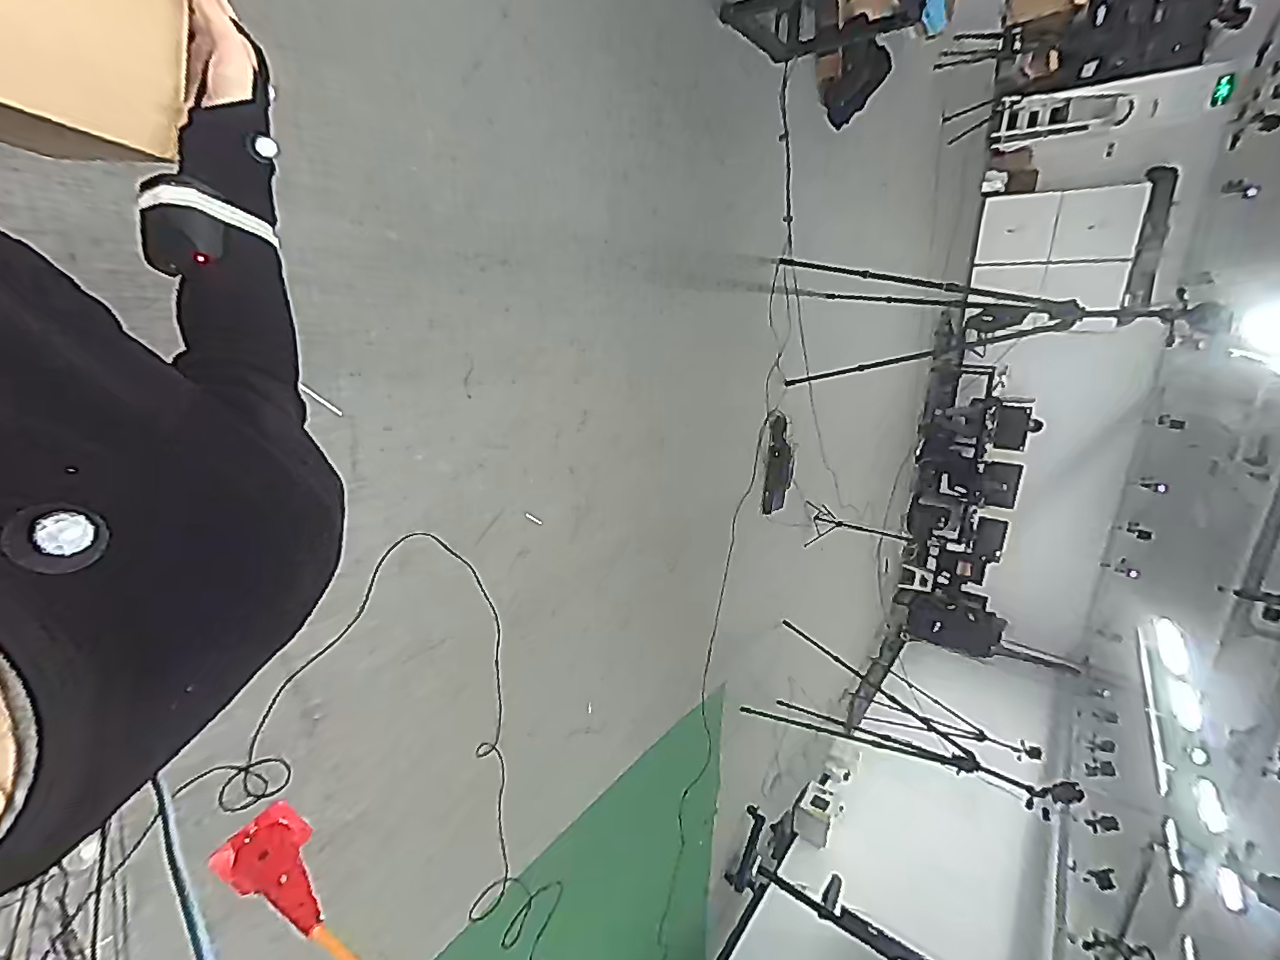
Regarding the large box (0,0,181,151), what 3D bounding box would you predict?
[{"bbox_3d":[-0.579,-0.441,0.322,0.408,0.320,0.320,-9,114,-58],"label":"large box"}]
